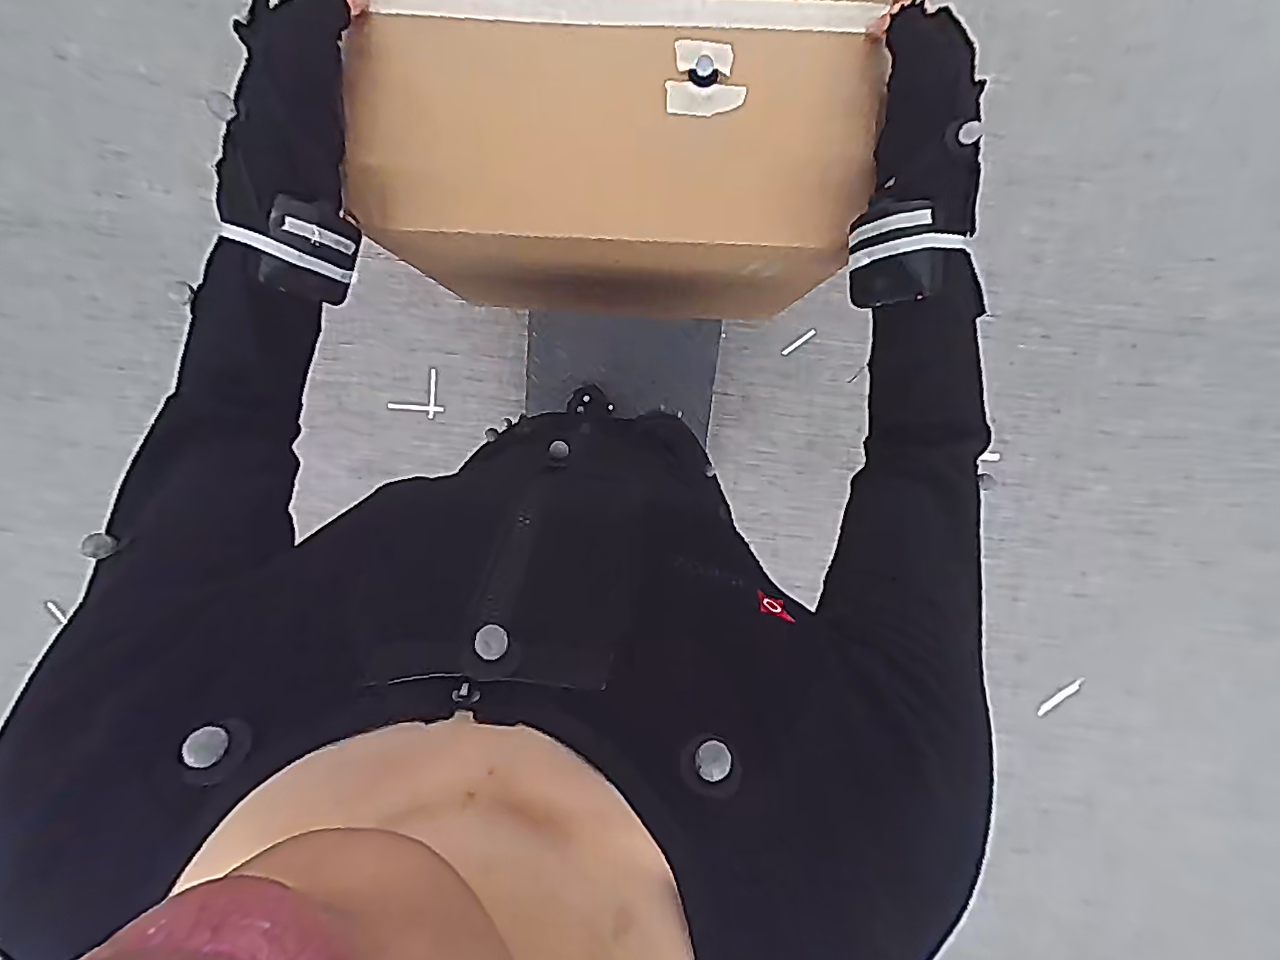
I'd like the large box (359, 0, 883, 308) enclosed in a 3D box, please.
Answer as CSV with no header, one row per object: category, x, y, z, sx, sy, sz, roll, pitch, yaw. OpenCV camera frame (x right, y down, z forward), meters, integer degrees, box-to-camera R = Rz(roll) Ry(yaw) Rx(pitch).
large box,-0.016,-0.367,0.557,0.408,0.320,0.320,2,97,-1
